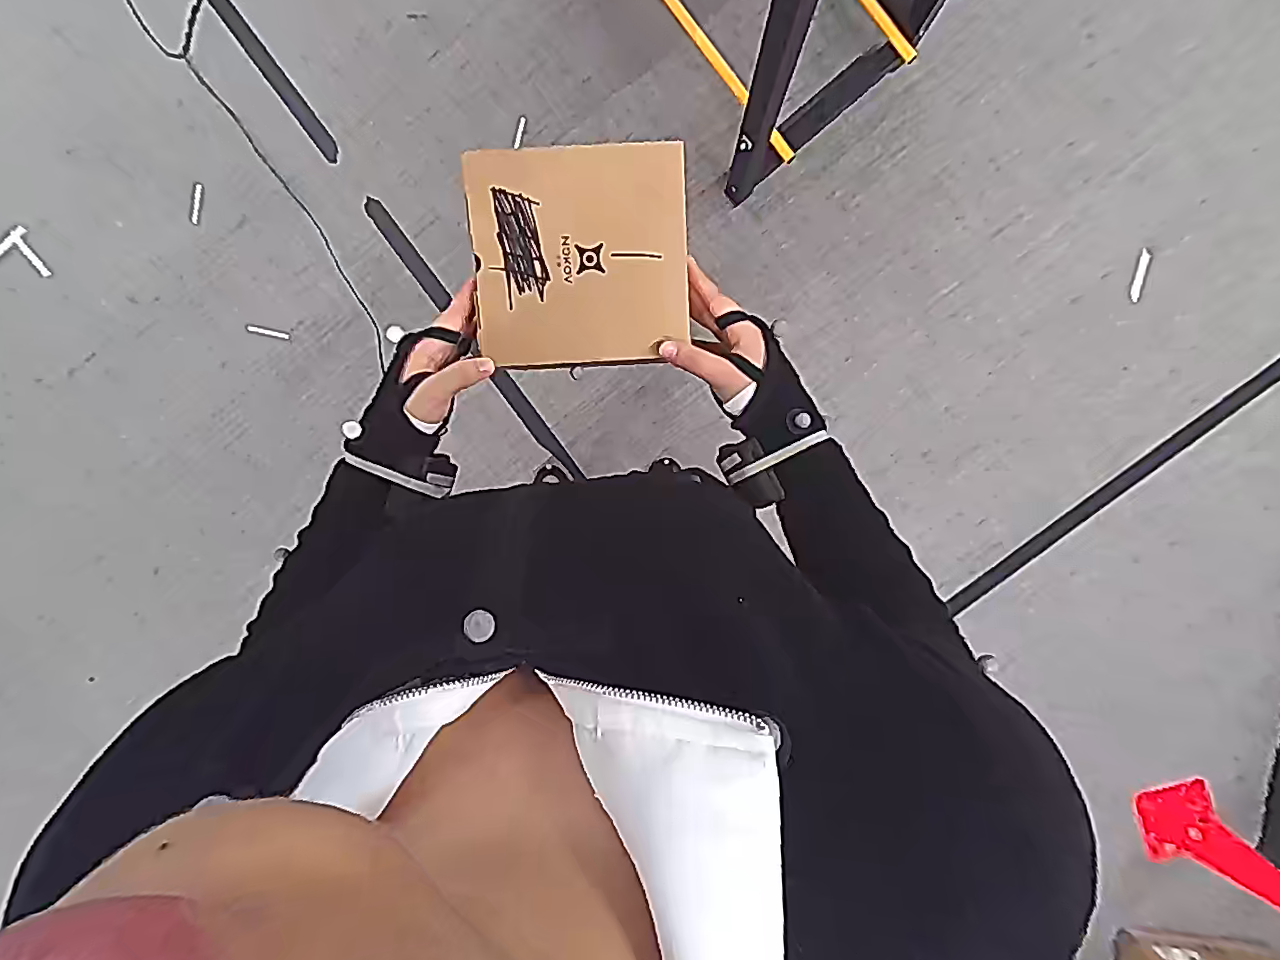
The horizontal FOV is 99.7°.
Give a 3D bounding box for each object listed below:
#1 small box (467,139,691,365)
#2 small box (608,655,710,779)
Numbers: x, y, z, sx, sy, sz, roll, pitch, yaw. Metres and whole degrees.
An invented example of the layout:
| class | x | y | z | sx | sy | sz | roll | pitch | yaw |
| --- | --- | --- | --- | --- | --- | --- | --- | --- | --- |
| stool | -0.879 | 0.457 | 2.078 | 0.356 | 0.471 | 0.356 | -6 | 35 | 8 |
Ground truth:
| class | x | y | z | sx | sy | sz | roll | pitch | yaw |
| --- | --- | --- | --- | --- | --- | --- | --- | --- | --- |
| small box | -0.048 | -0.198 | 0.516 | 0.179 | 0.176 | 0.168 | -3 | 101 | -1 |
| small box | 0.046 | 0.551 | 1.283 | 0.168 | 0.176 | 0.179 | -37 | 91 | 3 |
